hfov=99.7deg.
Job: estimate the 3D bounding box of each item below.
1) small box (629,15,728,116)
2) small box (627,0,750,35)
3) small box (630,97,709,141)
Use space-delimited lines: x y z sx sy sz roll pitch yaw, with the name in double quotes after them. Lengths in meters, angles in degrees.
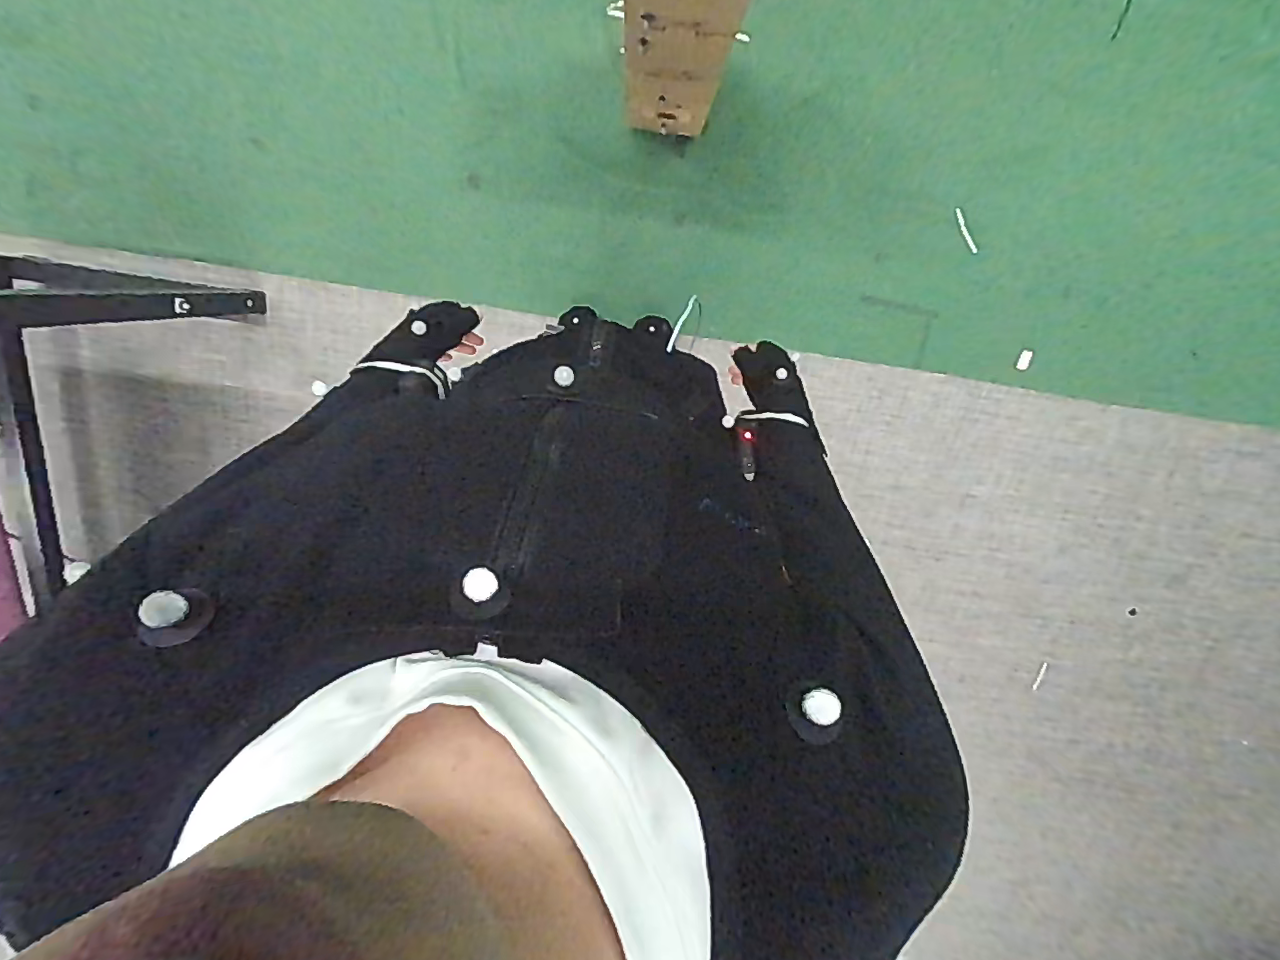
0.068 -0.801 0.991 0.168 0.176 0.179 5 109 -2 "small box"
0.070 -0.701 0.677 0.168 0.176 0.179 4 108 -2 "small box"
0.069 -0.851 1.145 0.168 0.176 0.179 7 108 -2 "small box"
